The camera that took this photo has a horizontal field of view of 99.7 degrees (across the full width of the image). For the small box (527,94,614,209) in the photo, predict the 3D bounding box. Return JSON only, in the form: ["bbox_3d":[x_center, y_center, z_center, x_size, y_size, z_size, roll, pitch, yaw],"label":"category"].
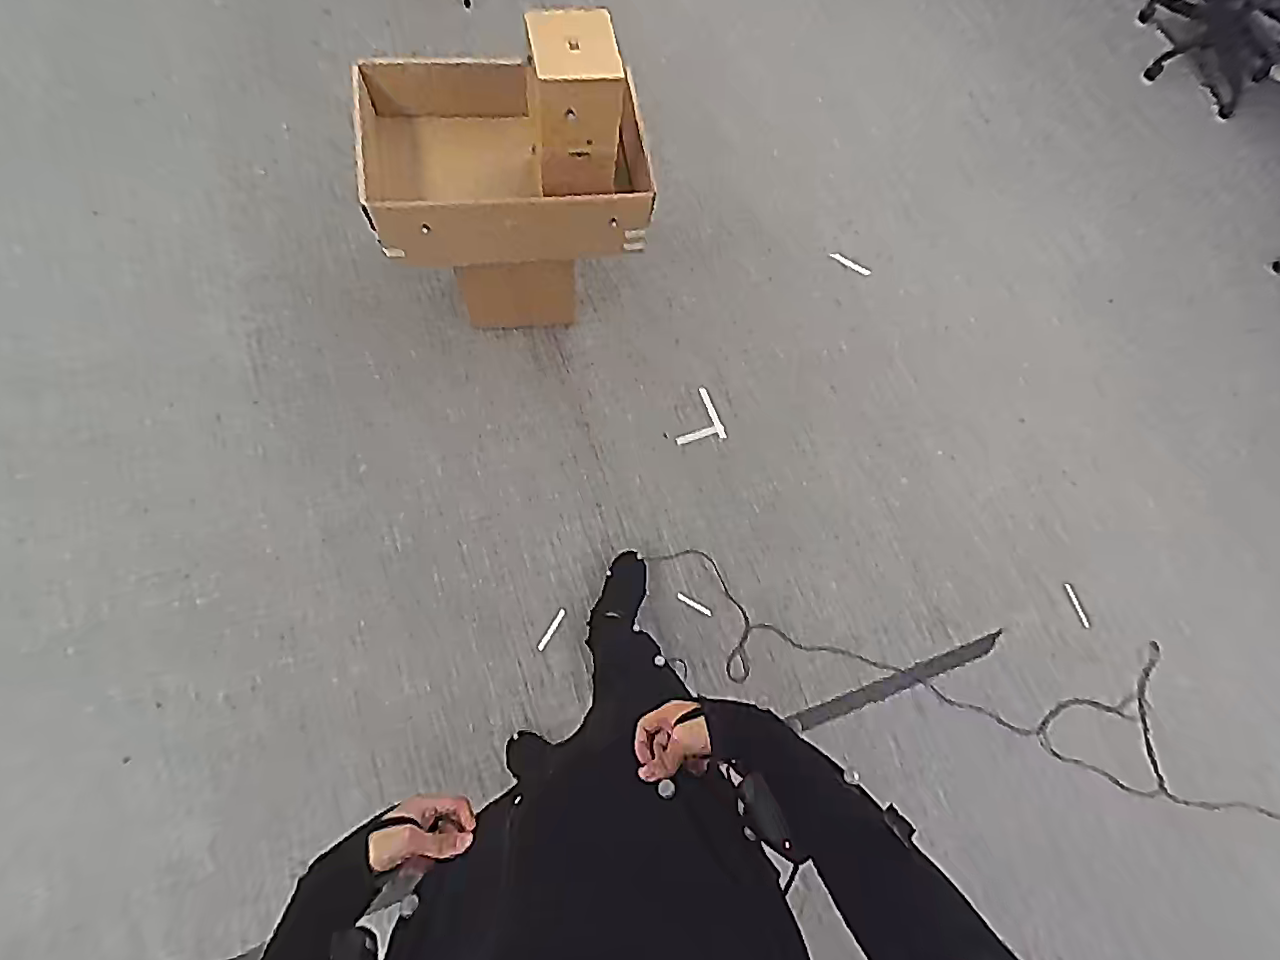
[{"bbox_3d":[-0.159,-0.750,1.244,0.168,0.176,0.179,-10,75,-11],"label":"small box"}]

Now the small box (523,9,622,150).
[{"bbox_3d":[-0.136,-0.796,1.090,0.168,0.176,0.179,-10,75,-11],"label":"small box"}]
